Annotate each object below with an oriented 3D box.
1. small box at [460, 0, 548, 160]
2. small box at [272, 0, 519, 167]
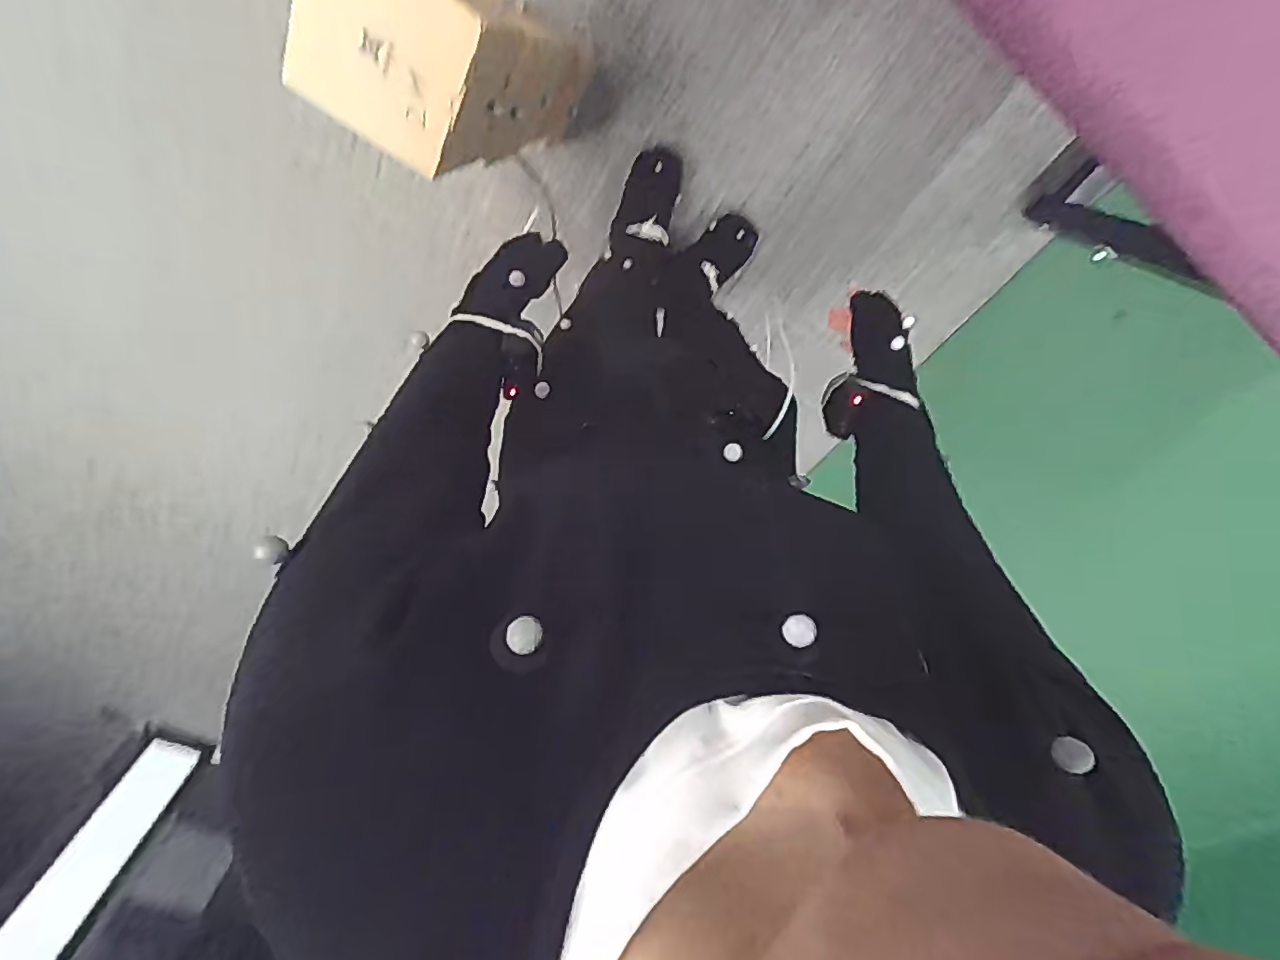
[{"bbox_3d":[-0.241,-0.585,0.744,0.168,0.176,0.179,30,125,-16],"label":"small box"},{"bbox_3d":[-0.263,-0.492,0.609,0.179,0.176,0.168,30,125,-17],"label":"small box"}]
